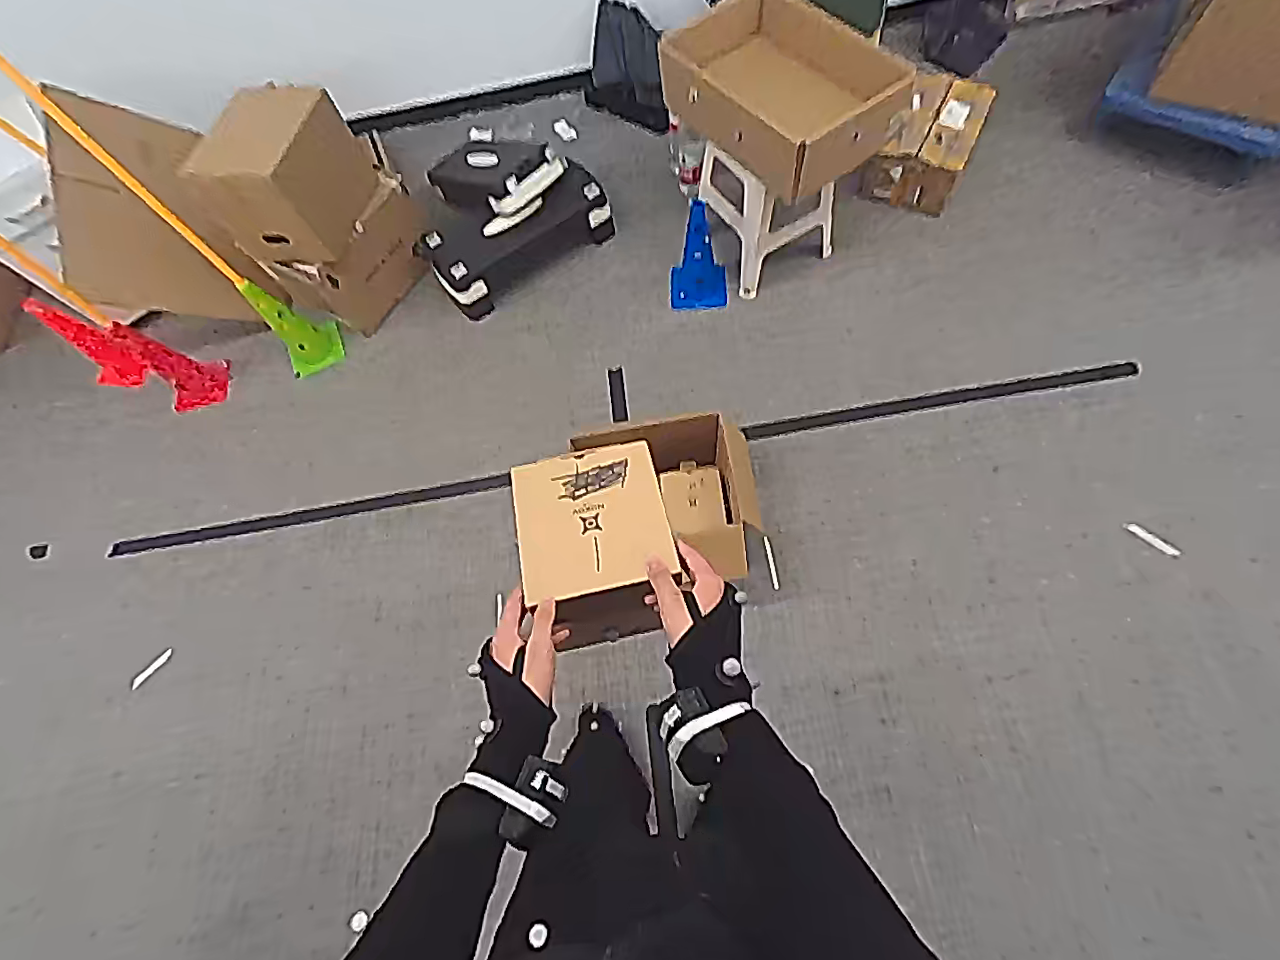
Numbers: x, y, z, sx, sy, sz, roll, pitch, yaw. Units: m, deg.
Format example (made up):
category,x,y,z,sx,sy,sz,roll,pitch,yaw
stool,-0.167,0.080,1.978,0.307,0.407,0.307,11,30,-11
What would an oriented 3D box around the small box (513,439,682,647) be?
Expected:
category,x,y,z,sx,sy,sz,roll,pitch,yaw
small box,-0.049,0.080,0.655,0.168,0.176,0.179,-12,58,-3
